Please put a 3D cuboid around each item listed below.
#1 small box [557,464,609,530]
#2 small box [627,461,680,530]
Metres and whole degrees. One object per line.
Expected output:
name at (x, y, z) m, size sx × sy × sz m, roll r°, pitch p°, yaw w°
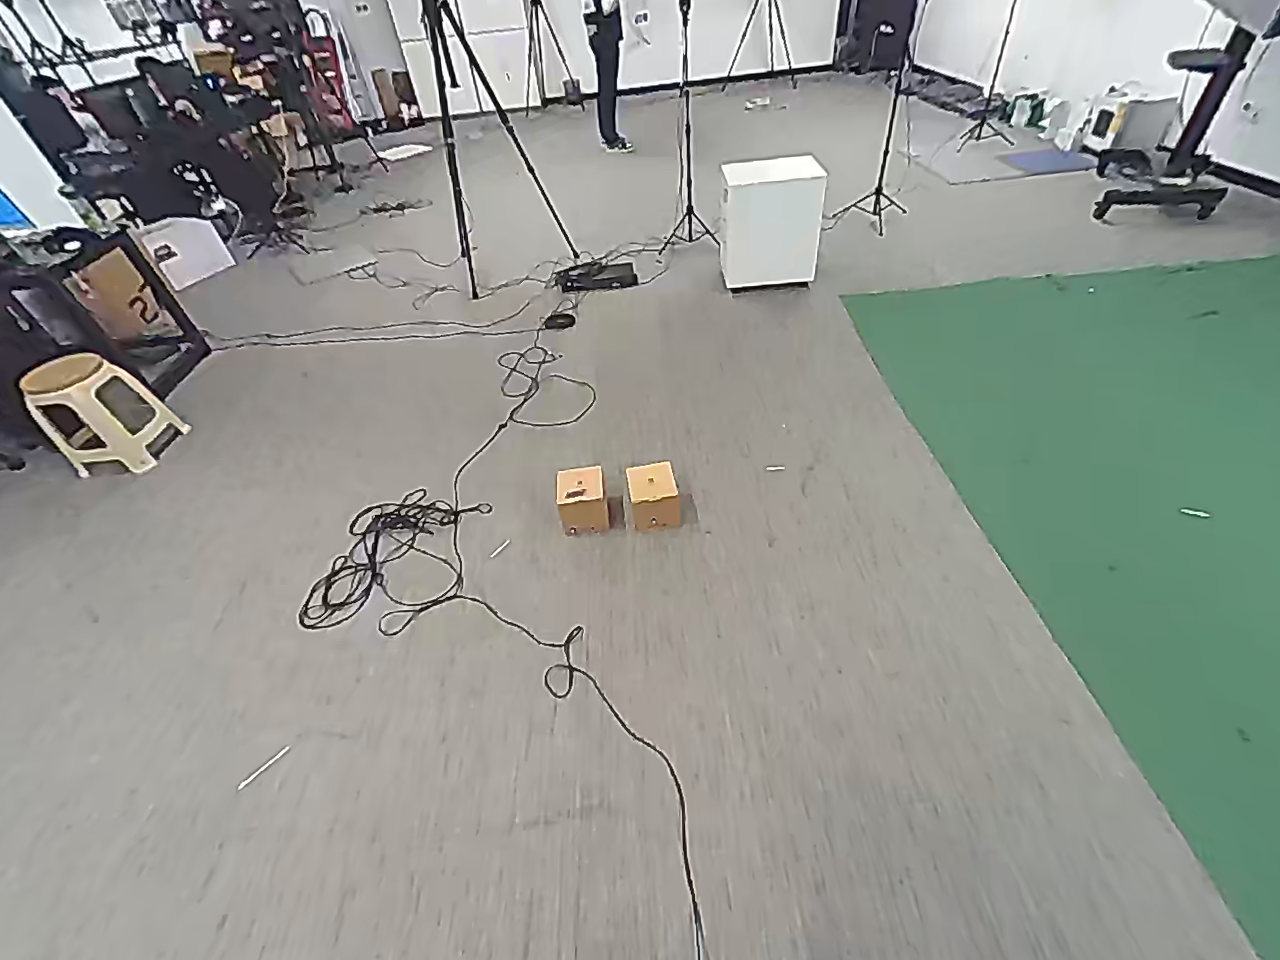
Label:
small box at (-0.206, 0.068, 1.978) m, size 0.168 × 0.176 × 0.179 m, roll -7°, pitch 43°, yaw 0°
small box at (0.048, 0.057, 1.959) m, size 0.168 × 0.176 × 0.179 m, roll -10°, pitch 45°, yaw -2°
